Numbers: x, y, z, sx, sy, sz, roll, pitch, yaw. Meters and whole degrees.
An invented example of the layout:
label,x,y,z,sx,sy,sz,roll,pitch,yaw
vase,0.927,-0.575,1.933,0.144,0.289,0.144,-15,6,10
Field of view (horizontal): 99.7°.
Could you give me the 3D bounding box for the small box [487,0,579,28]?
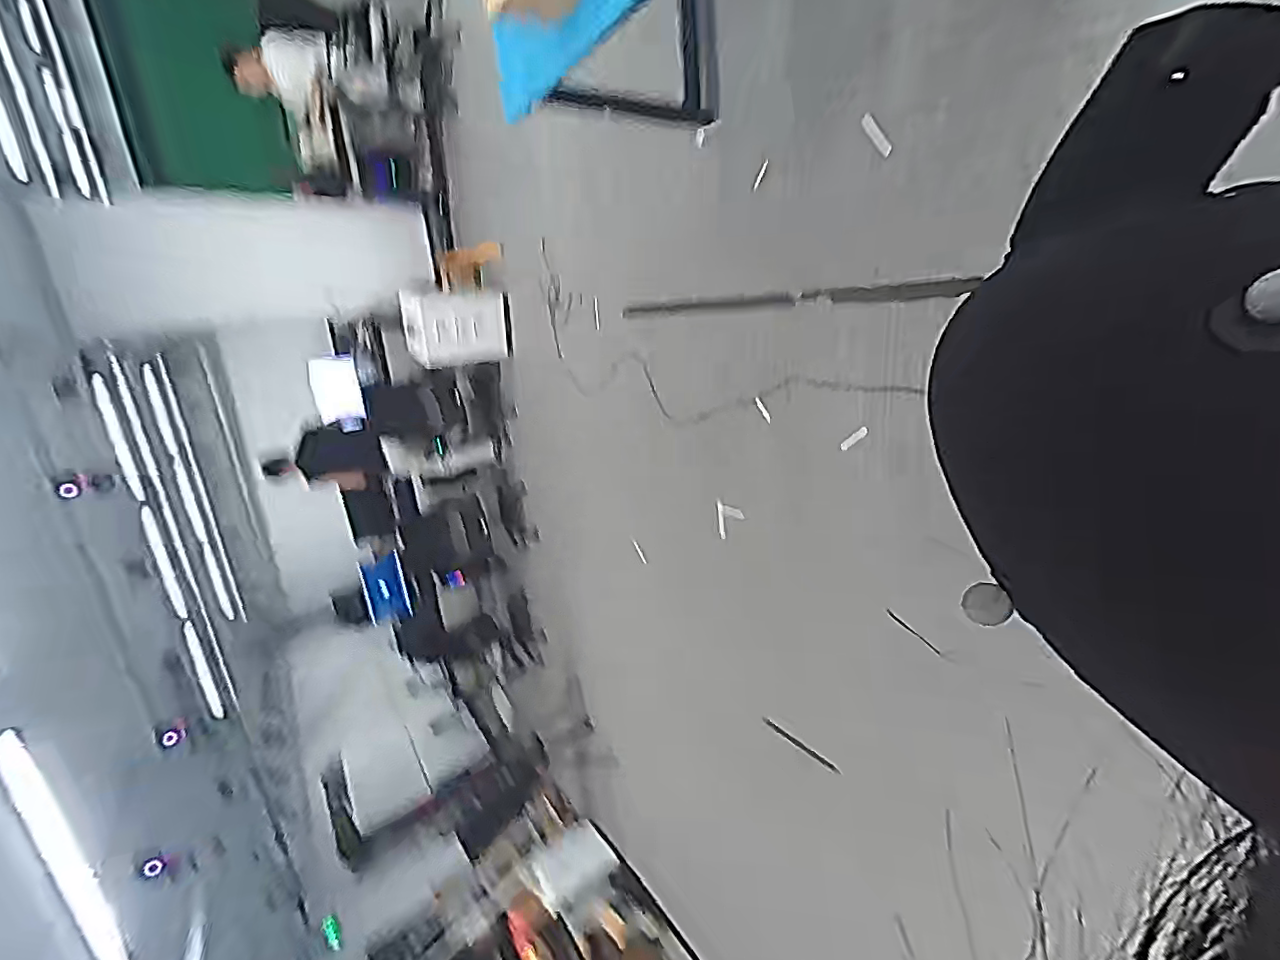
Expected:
label,x,y,z,sx,sy,sz,roll,pitch,yaw
small box,-0.253,-1.173,1.218,0.168,0.176,0.179,24,124,50
